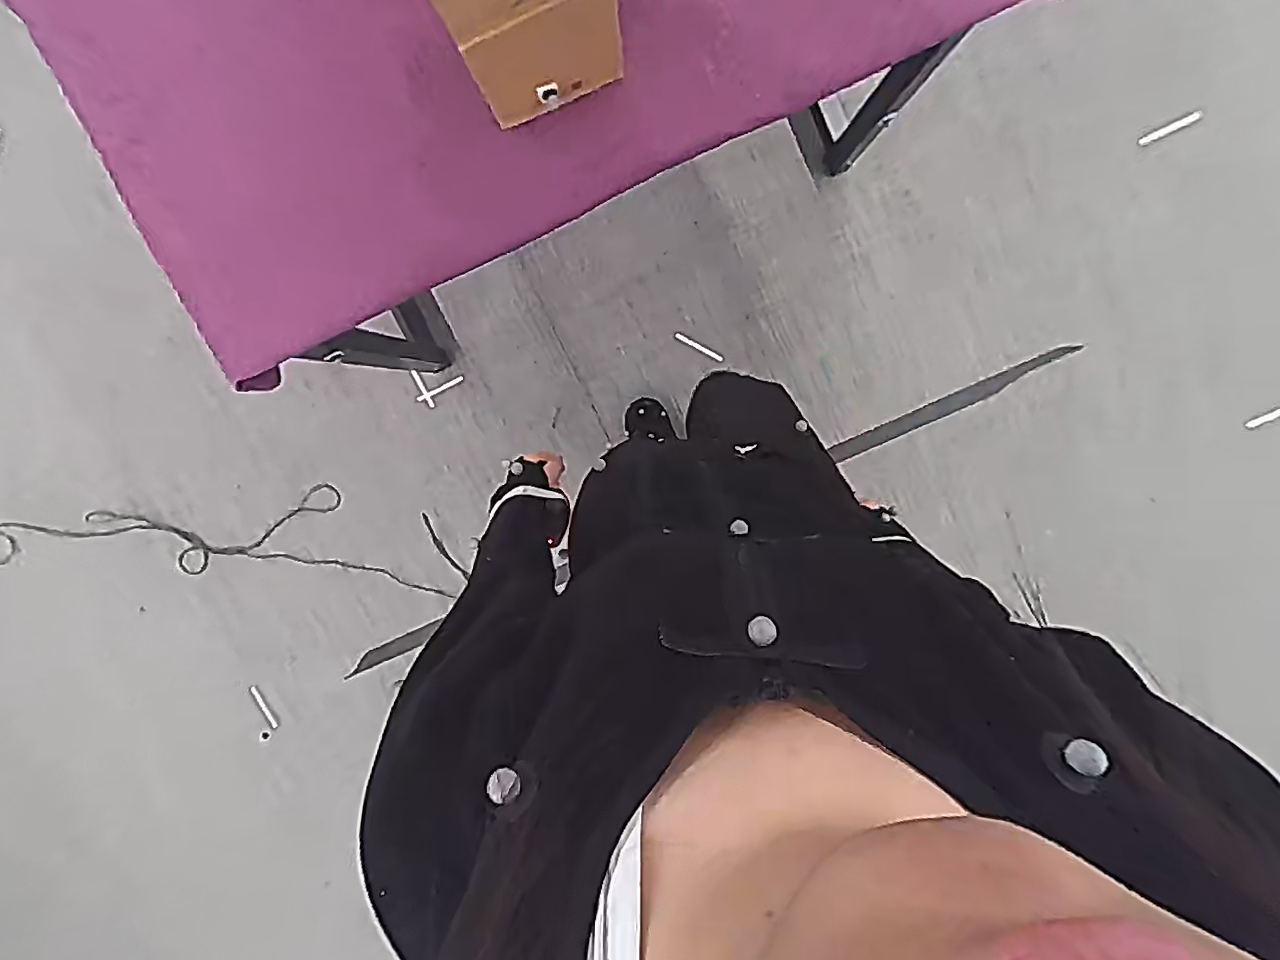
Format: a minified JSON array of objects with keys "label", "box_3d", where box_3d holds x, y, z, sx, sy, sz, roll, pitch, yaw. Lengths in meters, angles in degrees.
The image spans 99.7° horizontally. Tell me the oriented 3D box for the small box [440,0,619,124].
[{"label":"small box","box_3d":[-0.131,-0.536,0.581,0.168,0.176,0.179,-22,98,5]}]
